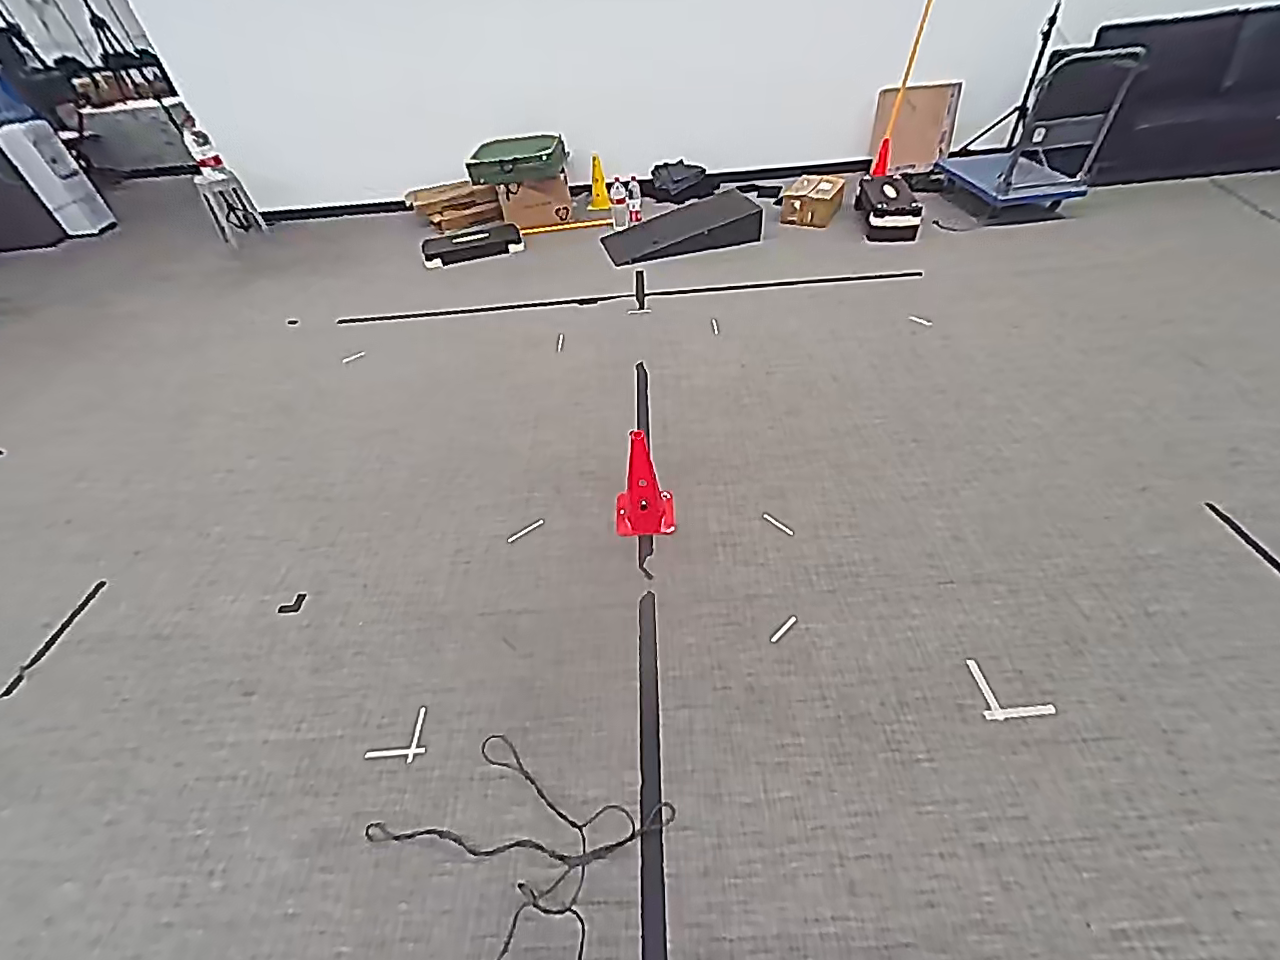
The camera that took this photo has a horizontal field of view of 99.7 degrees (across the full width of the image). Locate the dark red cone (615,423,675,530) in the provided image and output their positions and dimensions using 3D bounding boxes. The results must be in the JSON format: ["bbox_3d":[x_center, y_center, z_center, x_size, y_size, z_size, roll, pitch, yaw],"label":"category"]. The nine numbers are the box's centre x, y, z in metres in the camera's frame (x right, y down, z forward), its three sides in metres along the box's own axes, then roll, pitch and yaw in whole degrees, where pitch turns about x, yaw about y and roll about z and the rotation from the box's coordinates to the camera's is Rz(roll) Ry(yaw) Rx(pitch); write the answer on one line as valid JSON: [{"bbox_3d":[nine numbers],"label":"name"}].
[{"bbox_3d":[0.001,-0.024,1.747,0.201,0.394,0.202,-5,44,2],"label":"dark red cone"}]
